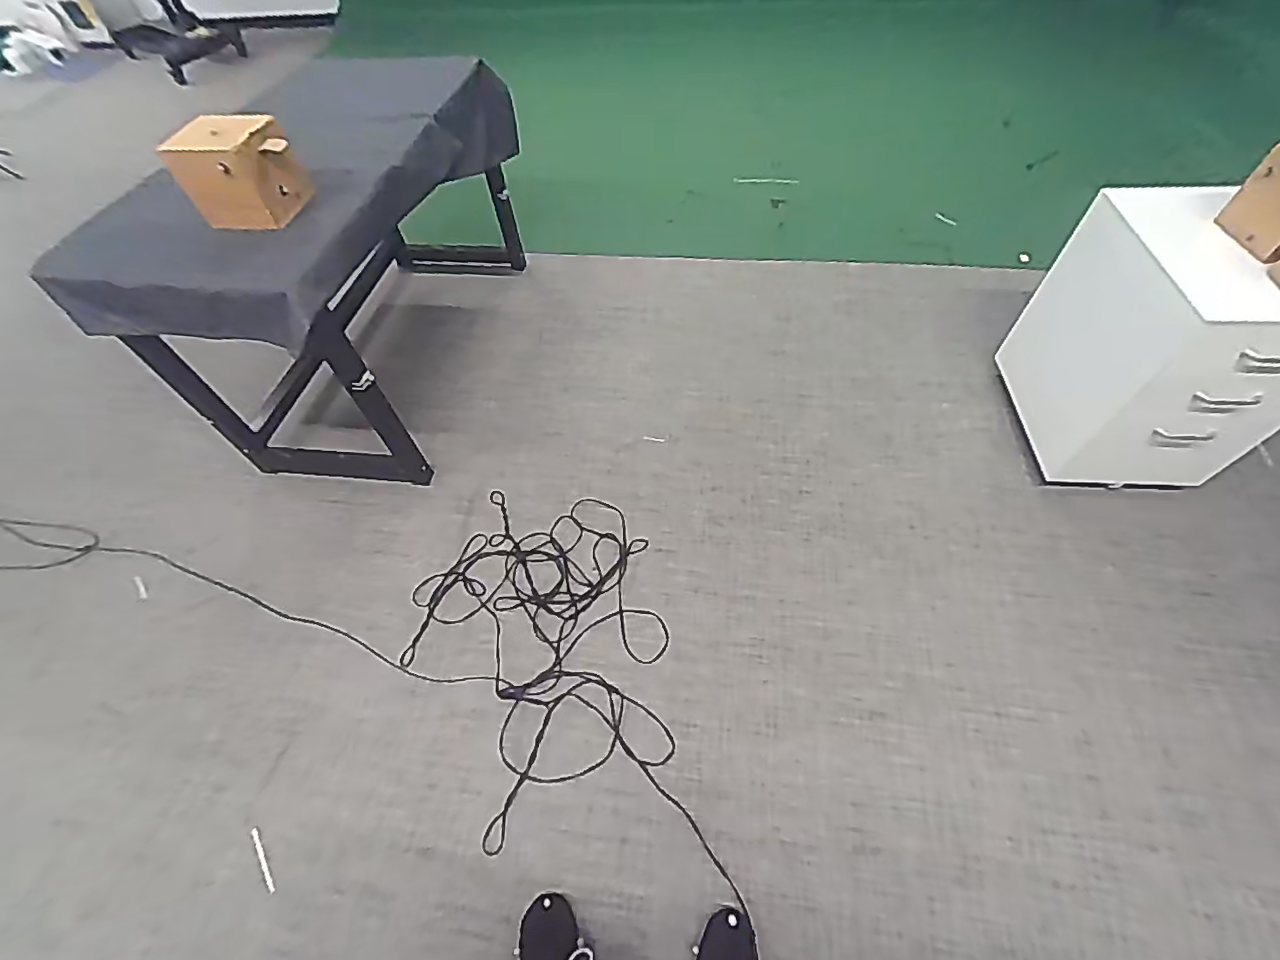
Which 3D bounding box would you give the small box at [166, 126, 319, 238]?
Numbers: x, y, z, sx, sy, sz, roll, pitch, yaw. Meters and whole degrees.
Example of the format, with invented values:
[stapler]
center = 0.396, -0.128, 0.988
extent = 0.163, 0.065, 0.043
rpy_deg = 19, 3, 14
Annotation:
[small box]
center = -0.867, -0.657, 1.198
extent = 0.179, 0.176, 0.168
rpy_deg = 4, 54, 7
